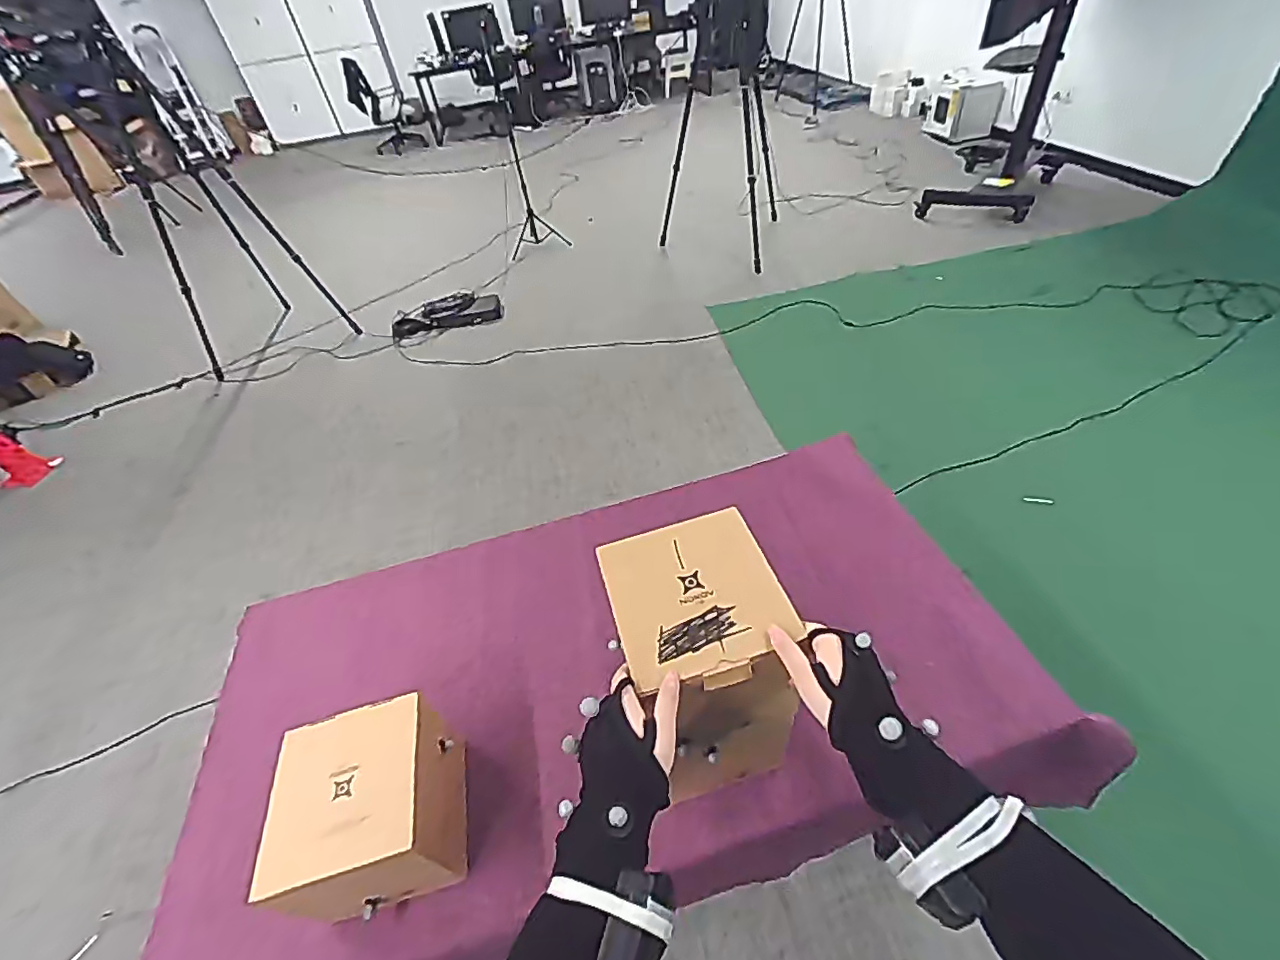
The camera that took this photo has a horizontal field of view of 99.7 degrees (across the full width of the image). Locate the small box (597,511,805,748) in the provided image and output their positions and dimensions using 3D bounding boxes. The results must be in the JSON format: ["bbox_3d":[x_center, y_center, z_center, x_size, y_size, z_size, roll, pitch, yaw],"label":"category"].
[{"bbox_3d":[0.063,0.169,0.593,0.168,0.176,0.179,-16,44,-6],"label":"small box"}]

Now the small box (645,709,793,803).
[{"bbox_3d":[0.084,0.285,0.708,0.168,0.176,0.179,-17,44,-4],"label":"small box"}]

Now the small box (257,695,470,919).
[{"bbox_3d":[-0.318,0.401,0.666,0.168,0.176,0.179,-15,46,-5],"label":"small box"}]
